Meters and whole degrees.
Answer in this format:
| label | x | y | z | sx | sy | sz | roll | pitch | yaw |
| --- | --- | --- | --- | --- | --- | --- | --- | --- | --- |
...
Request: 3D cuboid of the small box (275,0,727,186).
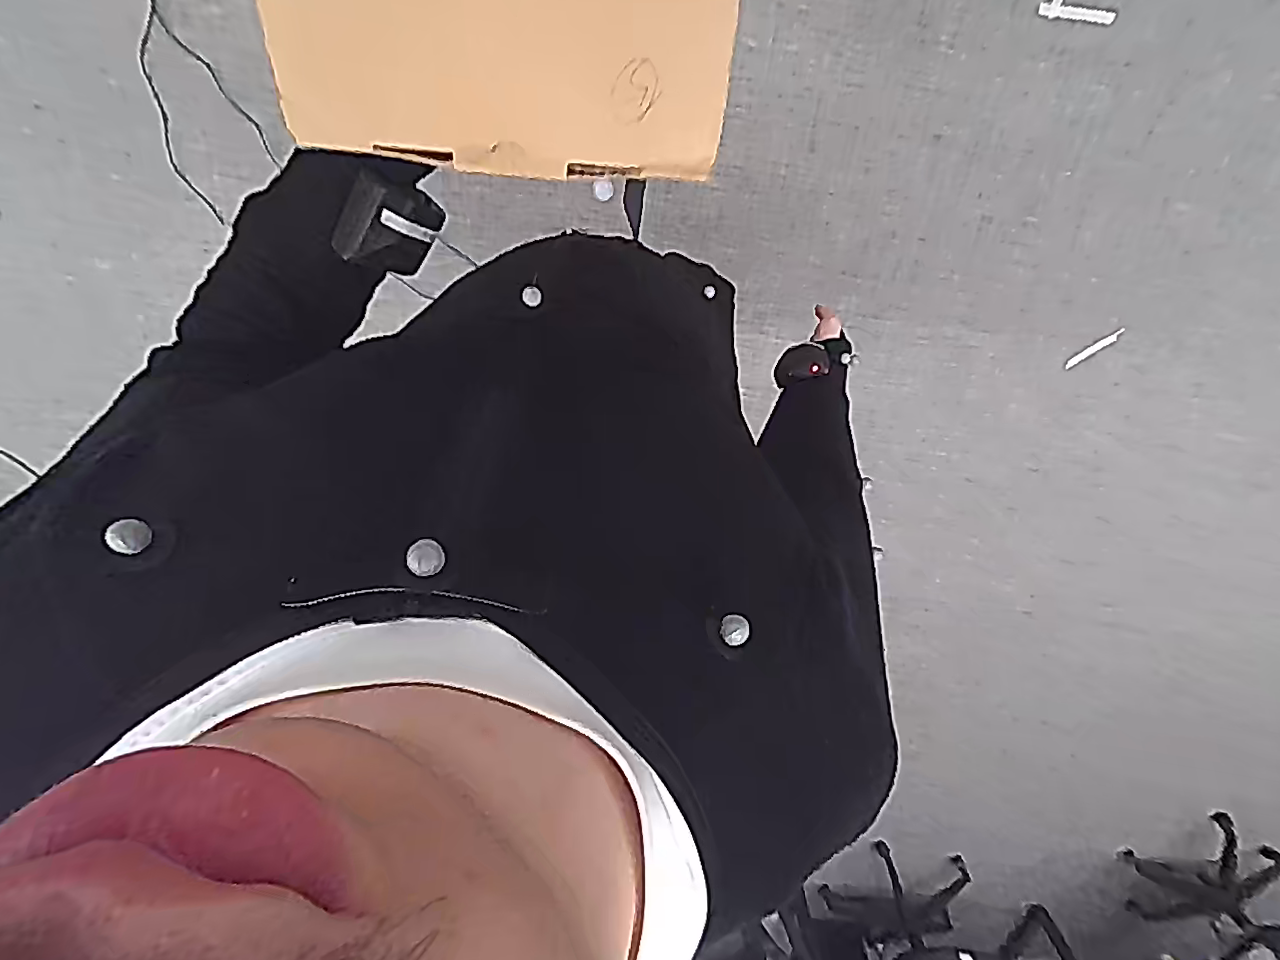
| label | x | y | z | sx | sy | sz | roll | pitch | yaw |
| --- | --- | --- | --- | --- | --- | --- | --- | --- | --- |
| small box | -0.049 | -0.245 | 0.246 | 0.168 | 0.176 | 0.179 | 2 | 121 | -5 |
